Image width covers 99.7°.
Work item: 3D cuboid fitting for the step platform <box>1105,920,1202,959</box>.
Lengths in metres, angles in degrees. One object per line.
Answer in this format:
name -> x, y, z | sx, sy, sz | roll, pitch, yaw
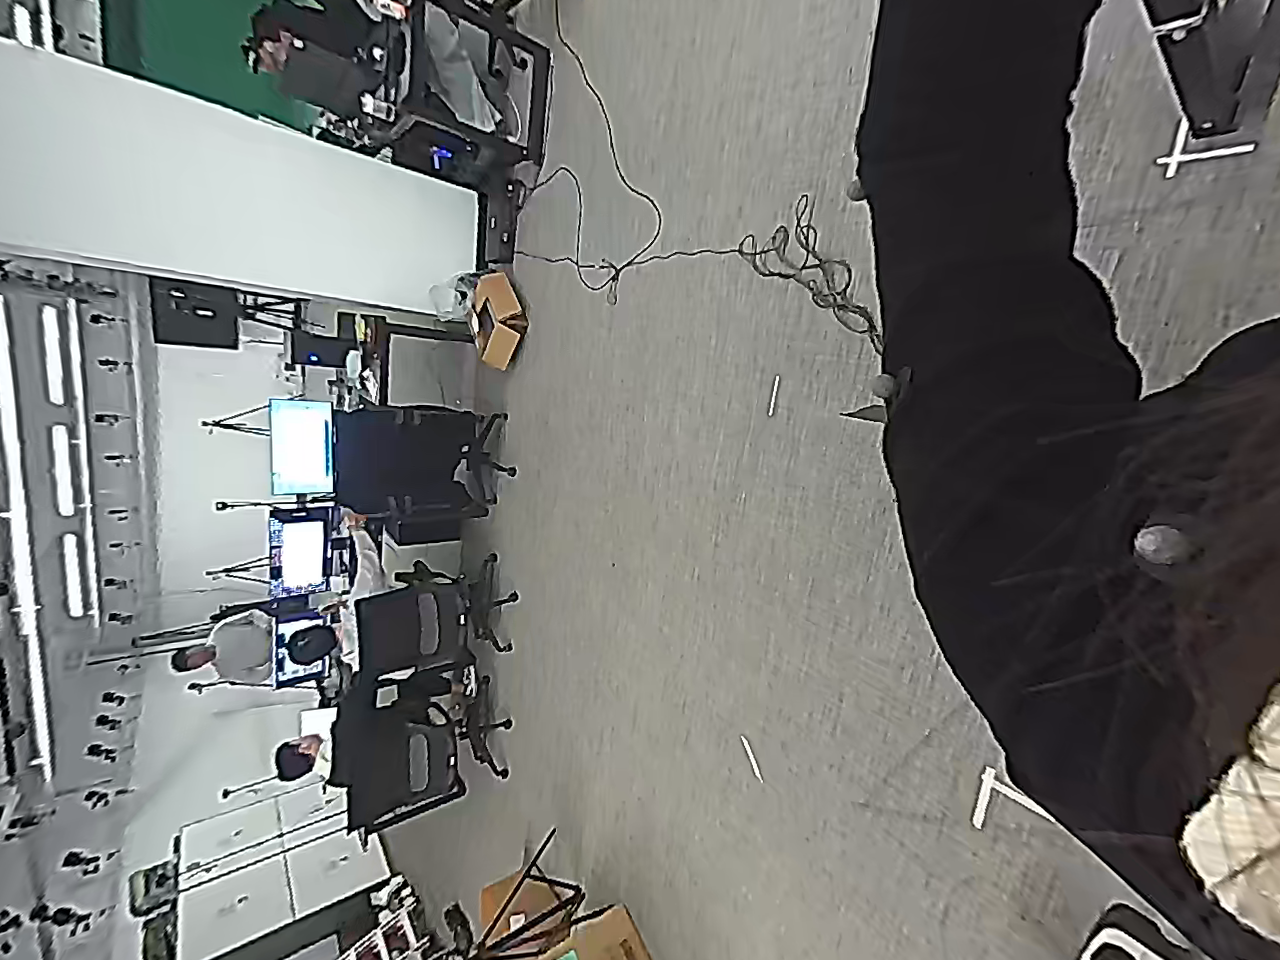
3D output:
step platform -> 1.162, 1.158, 0.883 | 0.684, 0.204, 0.286 | 30, 114, 46
